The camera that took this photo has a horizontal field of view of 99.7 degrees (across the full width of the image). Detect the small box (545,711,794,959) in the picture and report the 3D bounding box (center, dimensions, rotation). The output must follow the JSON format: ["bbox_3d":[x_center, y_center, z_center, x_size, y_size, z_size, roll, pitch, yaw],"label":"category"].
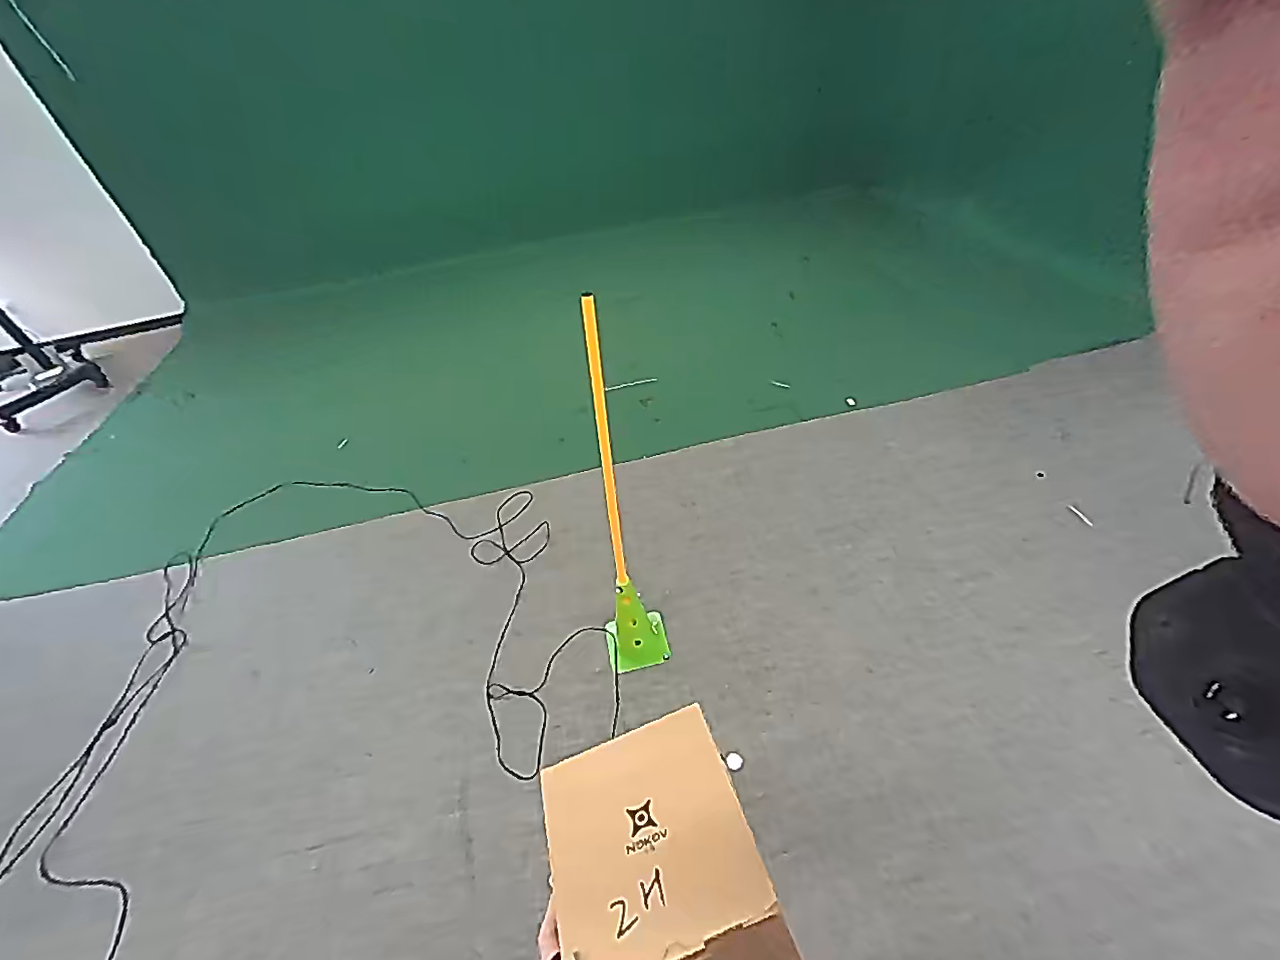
[{"bbox_3d":[0.025,0.359,0.500,0.168,0.176,0.179,-22,35,-2],"label":"small box"}]

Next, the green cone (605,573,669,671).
[{"bbox_3d":[-0.036,0.420,1.742,0.202,0.368,0.200,-13,42,-3],"label":"green cone"}]
